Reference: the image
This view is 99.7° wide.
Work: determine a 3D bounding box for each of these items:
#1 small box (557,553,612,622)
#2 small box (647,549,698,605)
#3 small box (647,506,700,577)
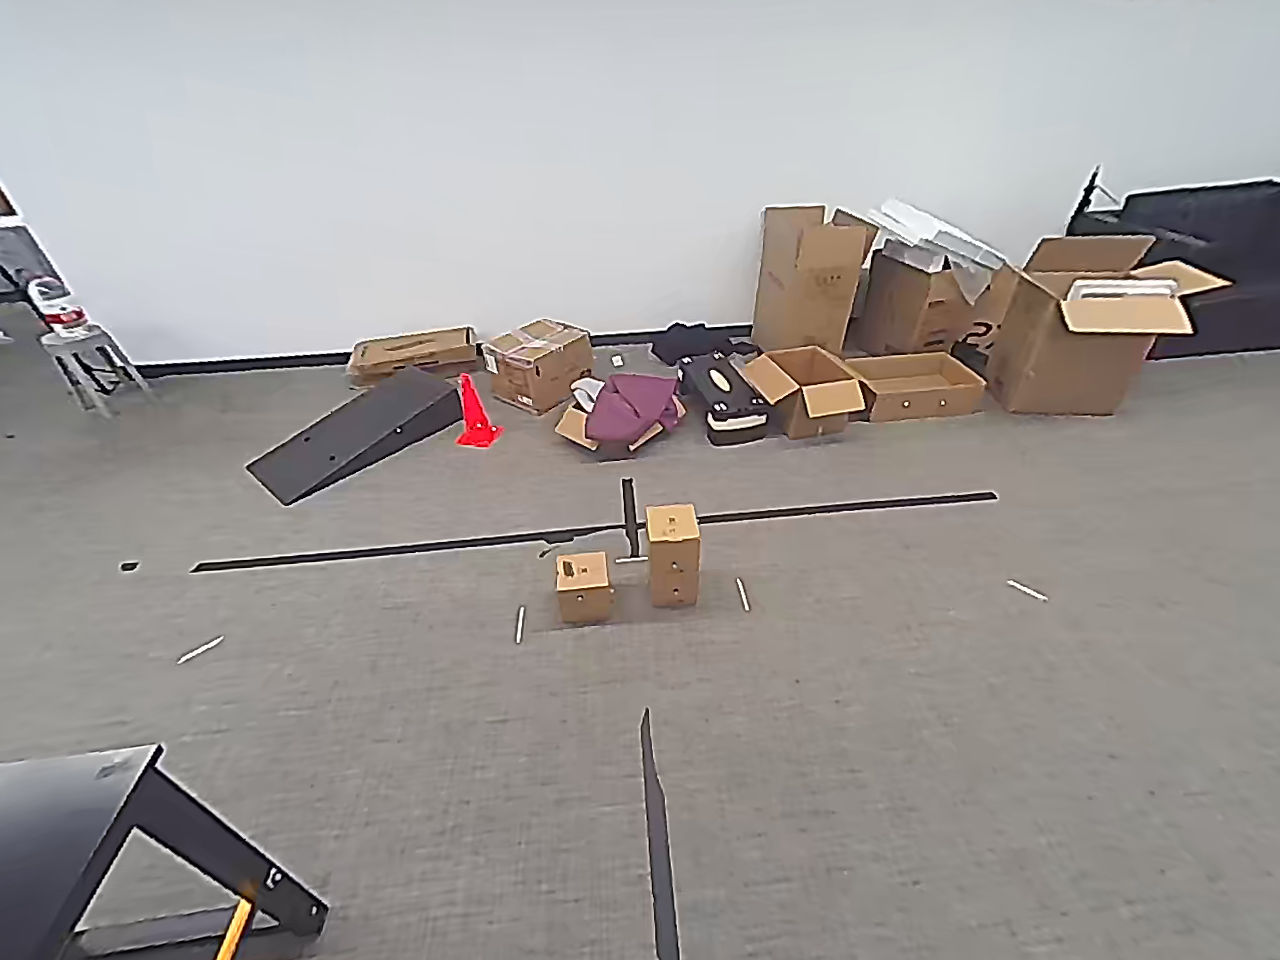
[{"bbox_3d":[-0.196,0.384,1.912,0.179,0.176,0.168,-6,37,-4],"label":"small box"},{"bbox_3d":[0.118,0.337,1.957,0.168,0.176,0.179,-5,38,-3],"label":"small box"},{"bbox_3d":[0.109,0.209,1.851,0.168,0.176,0.179,-4,38,-1],"label":"small box"}]
